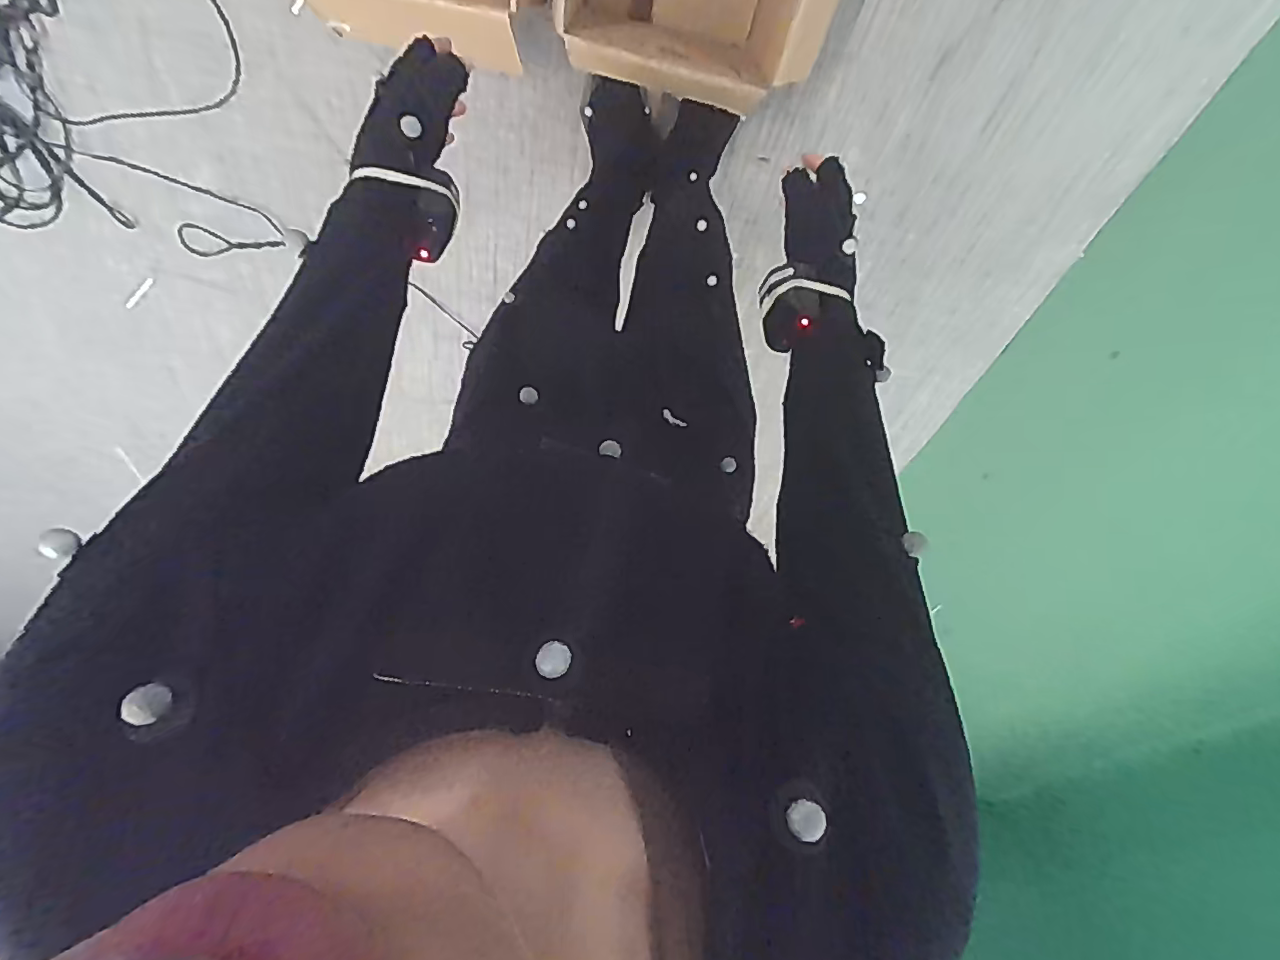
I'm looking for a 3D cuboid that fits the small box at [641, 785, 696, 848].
[{"bbox_3d":[0.103,1.264,2.030,0.168,0.176,0.179,12,137,-9],"label":"small box"}]
